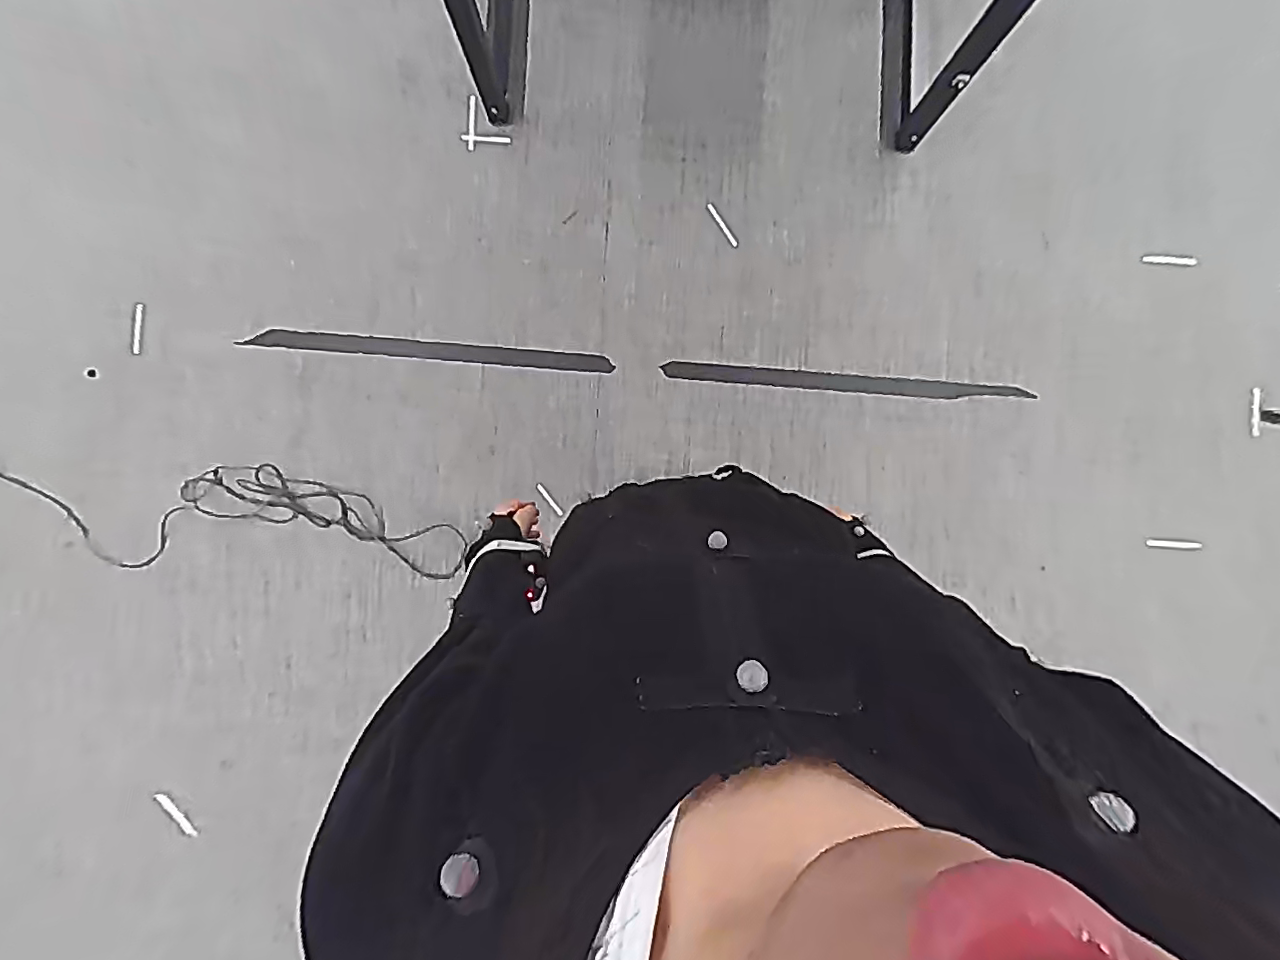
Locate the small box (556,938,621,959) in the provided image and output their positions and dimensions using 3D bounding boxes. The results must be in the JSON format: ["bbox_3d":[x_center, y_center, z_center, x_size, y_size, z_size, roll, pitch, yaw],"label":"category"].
[{"bbox_3d":[-0.137,1.334,1.397,0.179,0.176,0.168,-1,89,-2],"label":"small box"}]
